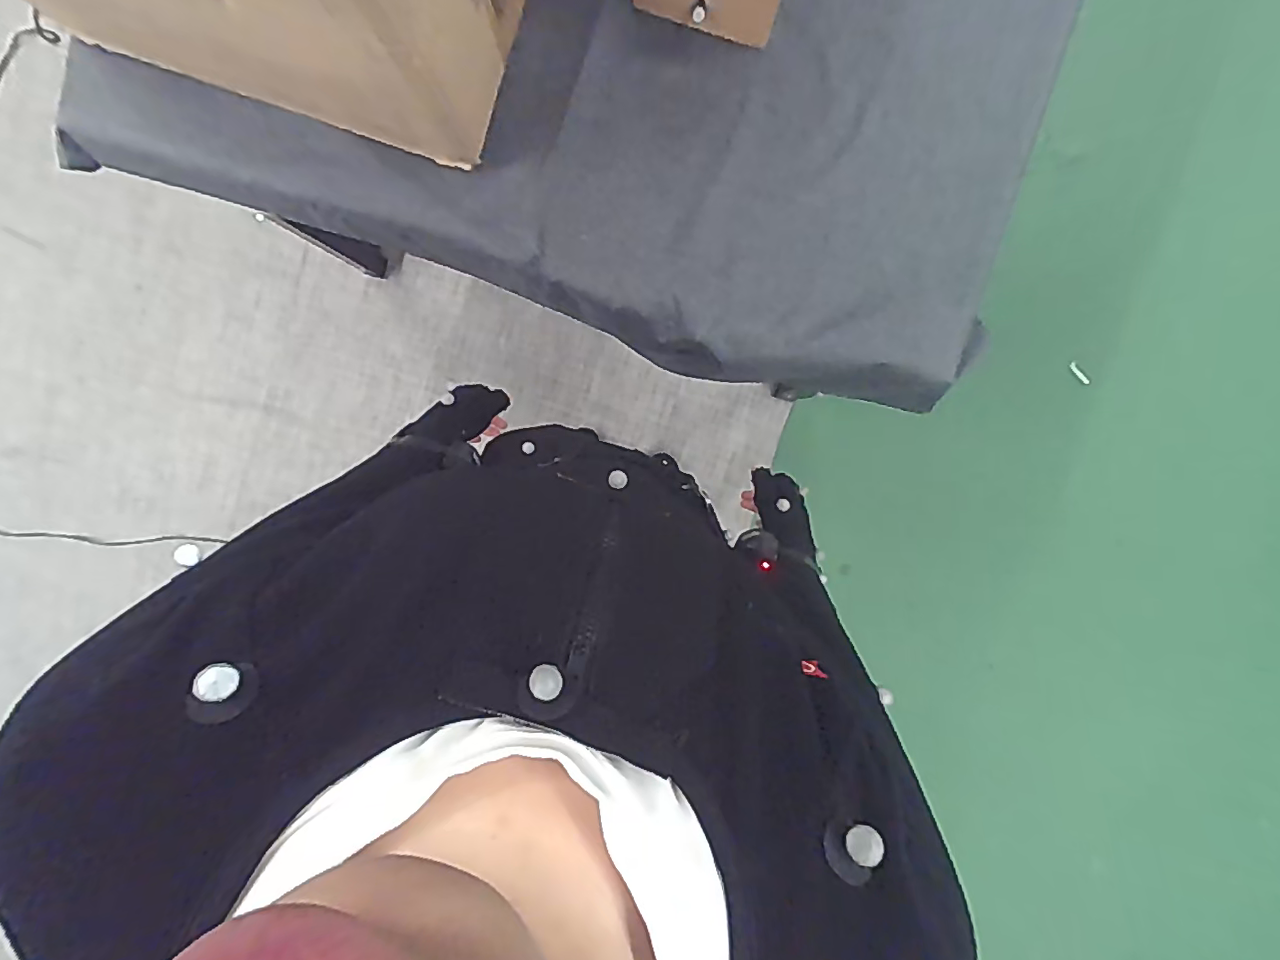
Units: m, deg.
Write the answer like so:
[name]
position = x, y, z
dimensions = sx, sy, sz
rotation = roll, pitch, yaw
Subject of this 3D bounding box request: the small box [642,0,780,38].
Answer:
[small box]
position = 0.101, -0.644, 0.596
dimensions = 0.179, 0.176, 0.168
rotation = 17, 95, -2
